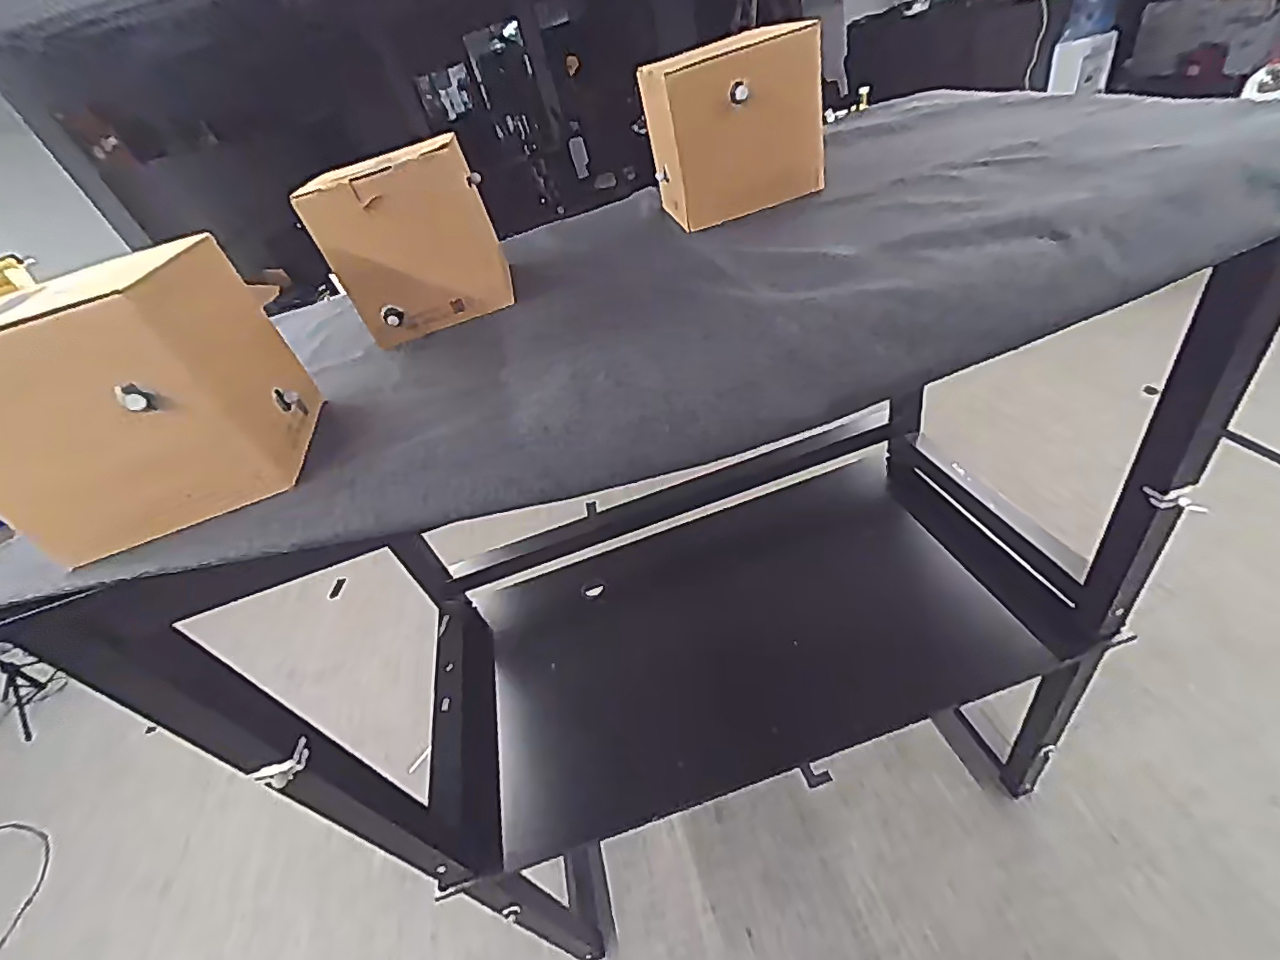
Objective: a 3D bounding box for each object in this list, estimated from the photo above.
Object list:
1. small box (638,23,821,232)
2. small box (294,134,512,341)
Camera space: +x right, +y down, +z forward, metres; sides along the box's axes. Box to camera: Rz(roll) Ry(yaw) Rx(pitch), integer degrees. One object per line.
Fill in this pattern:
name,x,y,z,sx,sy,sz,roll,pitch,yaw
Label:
small box,0.112,-0.437,0.677,0.179,0.176,0.168,-18,39,2
small box,-0.262,-0.285,0.645,0.168,0.176,0.179,-20,38,-2
